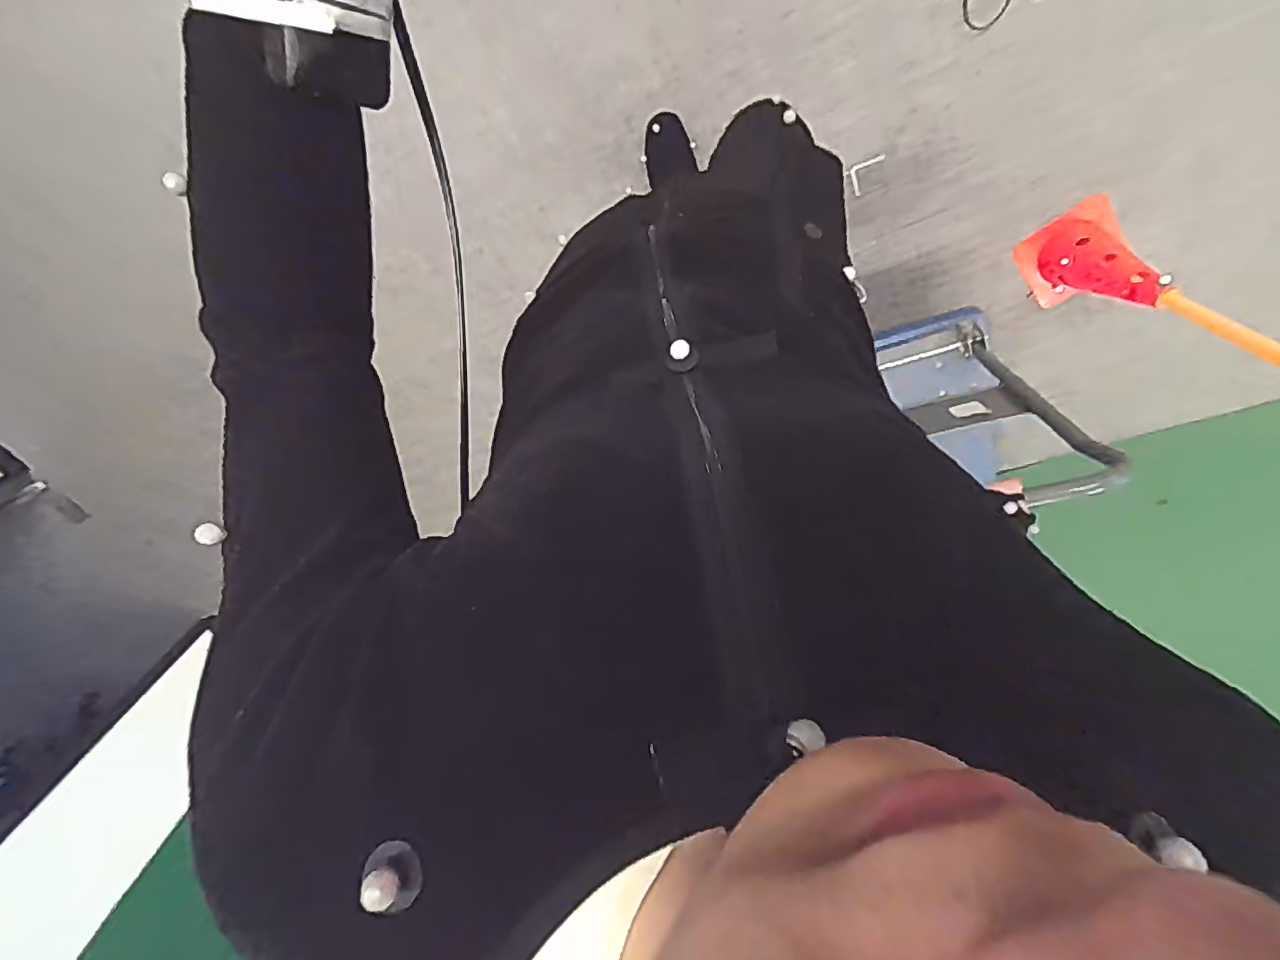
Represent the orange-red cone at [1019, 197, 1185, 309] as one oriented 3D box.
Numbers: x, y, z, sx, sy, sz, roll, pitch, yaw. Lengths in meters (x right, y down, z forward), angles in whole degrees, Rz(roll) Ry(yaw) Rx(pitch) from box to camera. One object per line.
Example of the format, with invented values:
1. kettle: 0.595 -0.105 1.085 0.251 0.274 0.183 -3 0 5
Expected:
1. orange-red cone: 1.020 -0.442 1.155 0.199 0.360 0.198 -33 116 26
